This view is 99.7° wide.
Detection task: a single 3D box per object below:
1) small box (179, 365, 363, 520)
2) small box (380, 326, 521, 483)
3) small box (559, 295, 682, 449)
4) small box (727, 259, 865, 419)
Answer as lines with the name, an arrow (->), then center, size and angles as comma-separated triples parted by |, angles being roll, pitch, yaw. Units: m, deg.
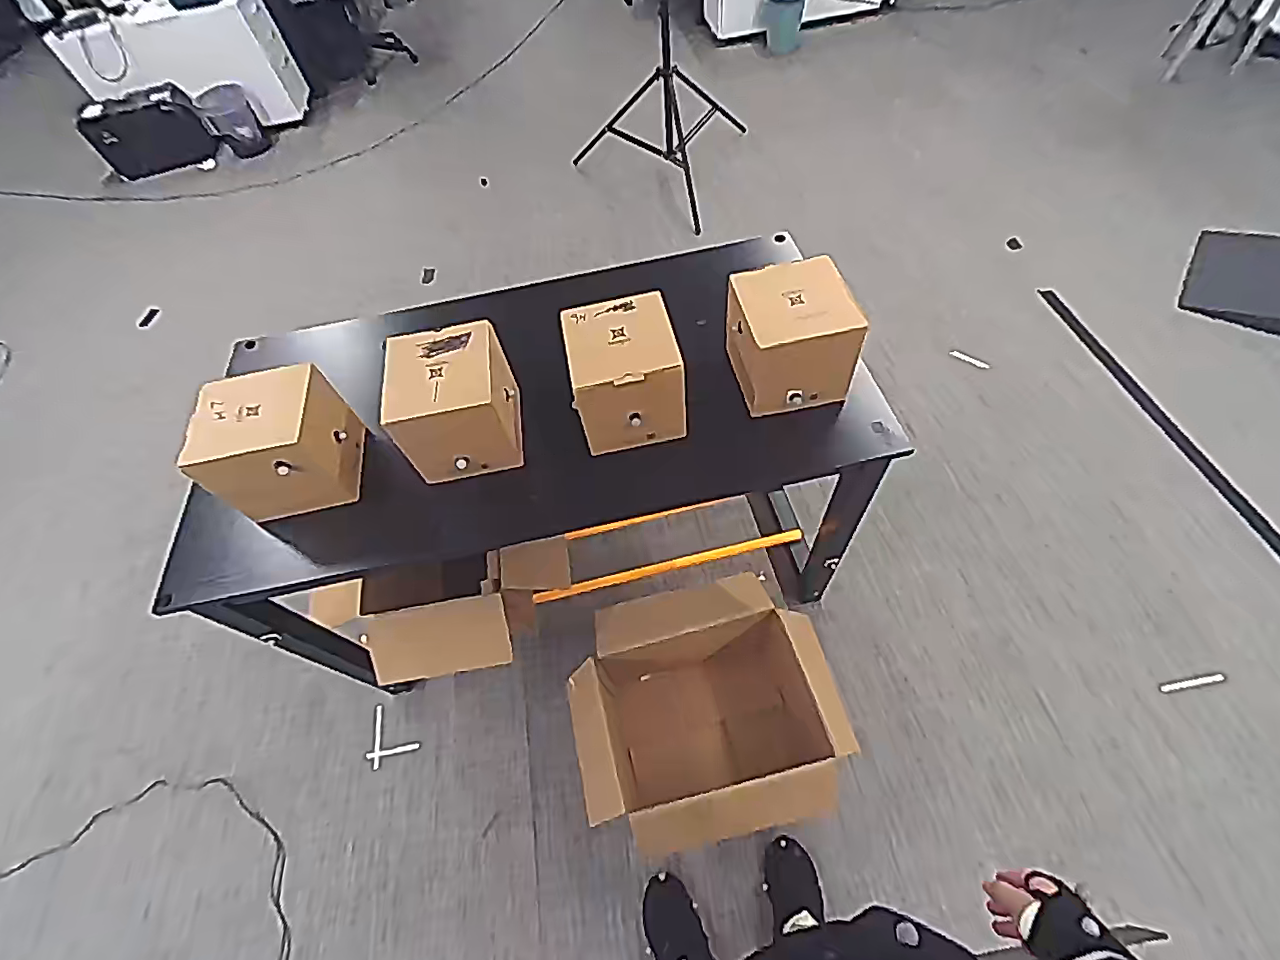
small box -> -0.577, -0.055, 0.877 | 0.179, 0.176, 0.168 | -12, 57, -2
small box -> -0.299, -0.120, 0.889 | 0.168, 0.176, 0.179 | -11, 58, -1
small box -> -0.028, -0.168, 0.890 | 0.168, 0.176, 0.179 | -12, 58, -1
small box -> 0.243, -0.229, 0.898 | 0.168, 0.176, 0.179 | -12, 57, 1
